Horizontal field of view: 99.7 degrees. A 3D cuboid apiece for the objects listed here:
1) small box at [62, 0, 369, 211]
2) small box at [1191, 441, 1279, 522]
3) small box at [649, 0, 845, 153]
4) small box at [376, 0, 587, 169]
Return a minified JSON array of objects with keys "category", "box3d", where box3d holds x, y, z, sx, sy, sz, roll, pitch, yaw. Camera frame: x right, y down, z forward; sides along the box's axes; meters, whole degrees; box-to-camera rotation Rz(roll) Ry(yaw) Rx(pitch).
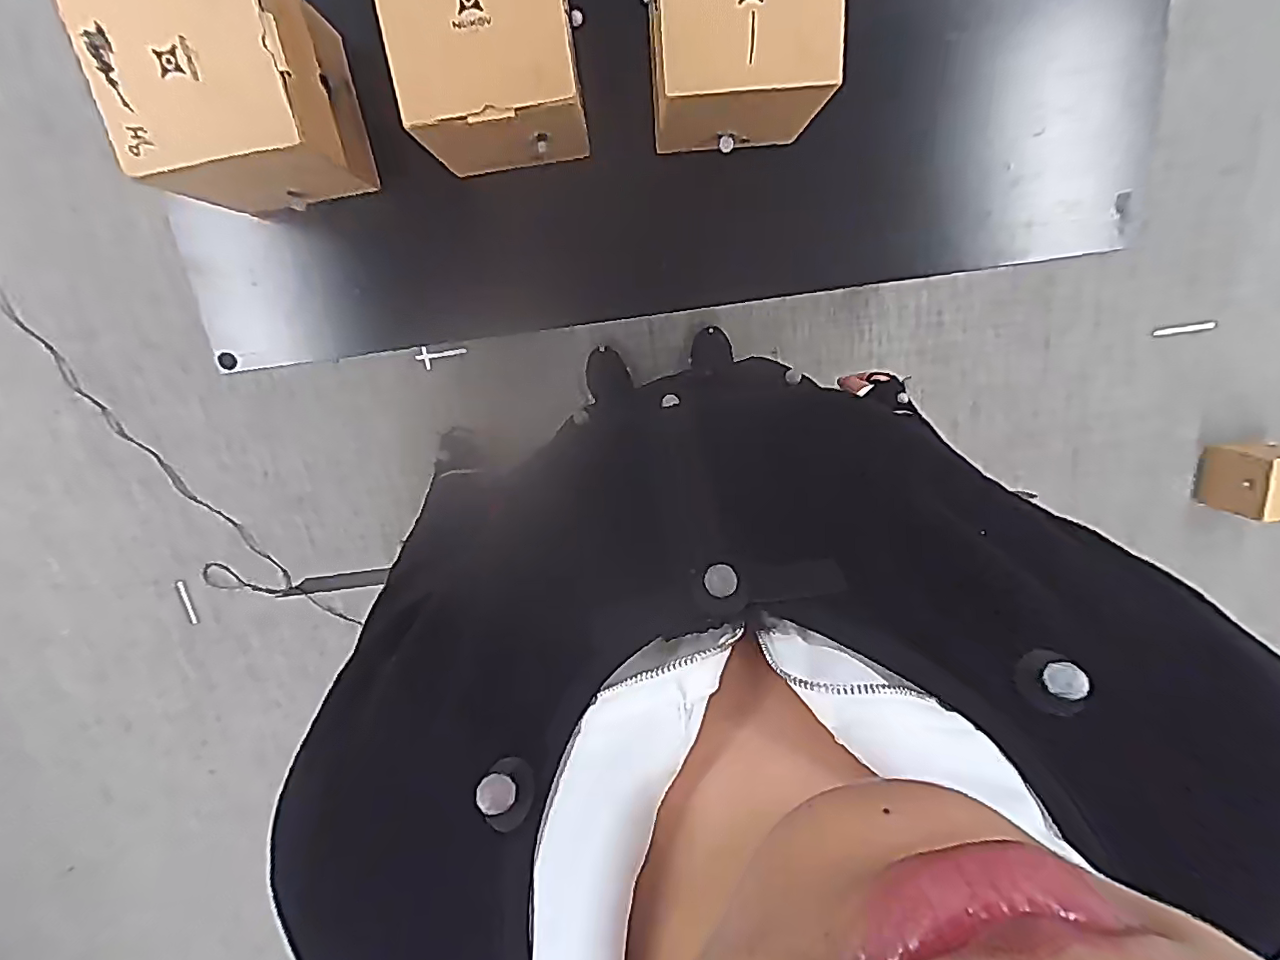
[{"category":"small box","box3d":[-0.409,-0.396,0.561,0.179,0.176,0.168,-10,105,0]},{"category":"small box","box3d":[1.658,-0.004,1.463,0.168,0.176,0.179,-7,106,2]},{"category":"small box","box3d":[0.098,-0.462,0.553,0.168,0.176,0.179,-4,106,0]},{"category":"small box","box3d":[-0.151,-0.441,0.555,0.168,0.176,0.179,-9,104,1]}]
